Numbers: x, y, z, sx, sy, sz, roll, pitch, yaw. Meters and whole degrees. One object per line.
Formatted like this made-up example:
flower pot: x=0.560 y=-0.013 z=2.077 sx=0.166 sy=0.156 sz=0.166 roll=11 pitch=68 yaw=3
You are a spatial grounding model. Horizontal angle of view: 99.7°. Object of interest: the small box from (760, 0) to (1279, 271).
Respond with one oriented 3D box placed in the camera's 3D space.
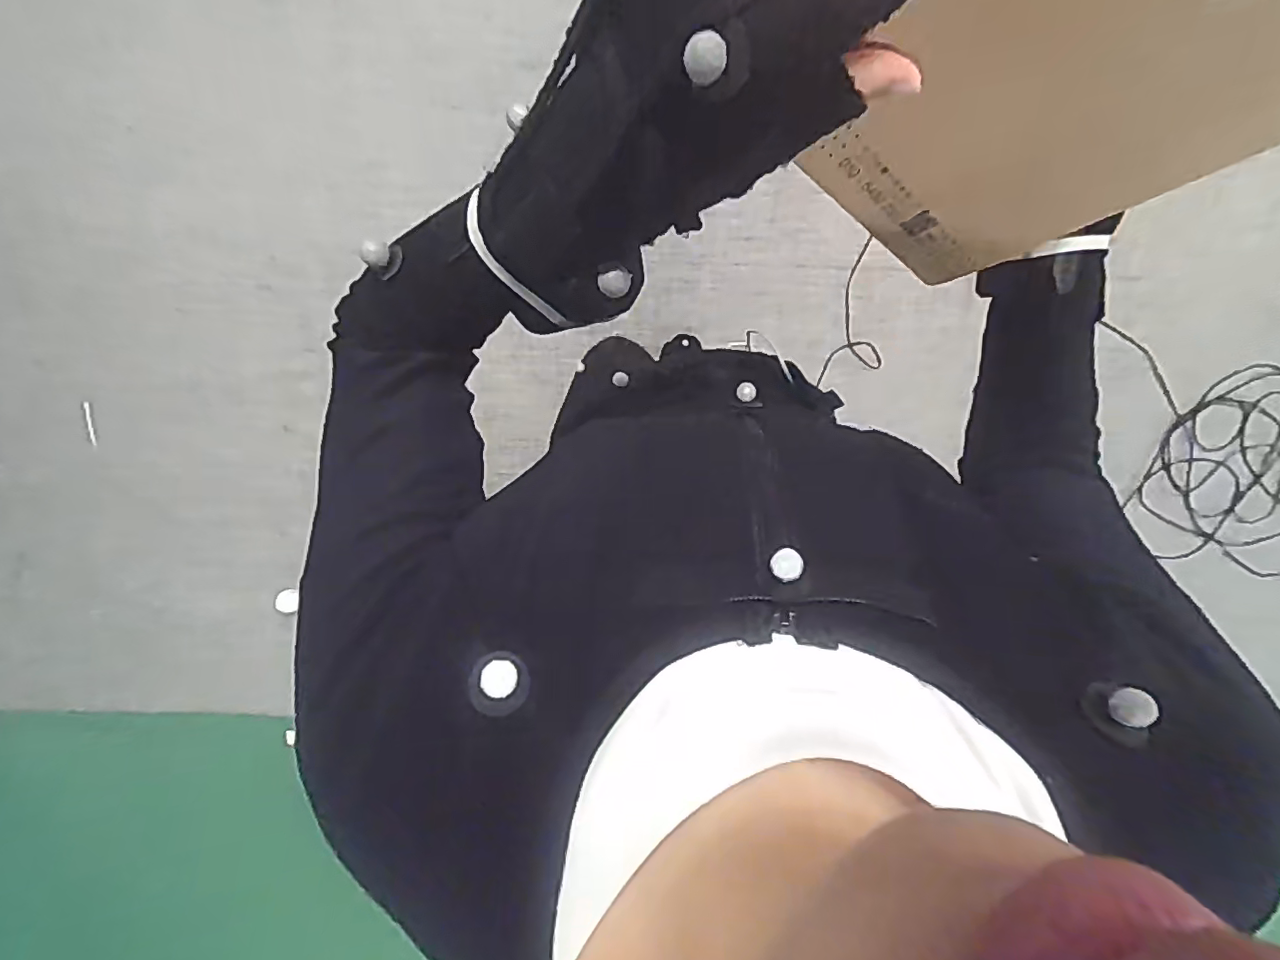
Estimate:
small box: x=0.171 y=-0.238 z=0.250 sx=0.168 sy=0.176 sz=0.179 roll=17 pitch=69 yaw=-35
